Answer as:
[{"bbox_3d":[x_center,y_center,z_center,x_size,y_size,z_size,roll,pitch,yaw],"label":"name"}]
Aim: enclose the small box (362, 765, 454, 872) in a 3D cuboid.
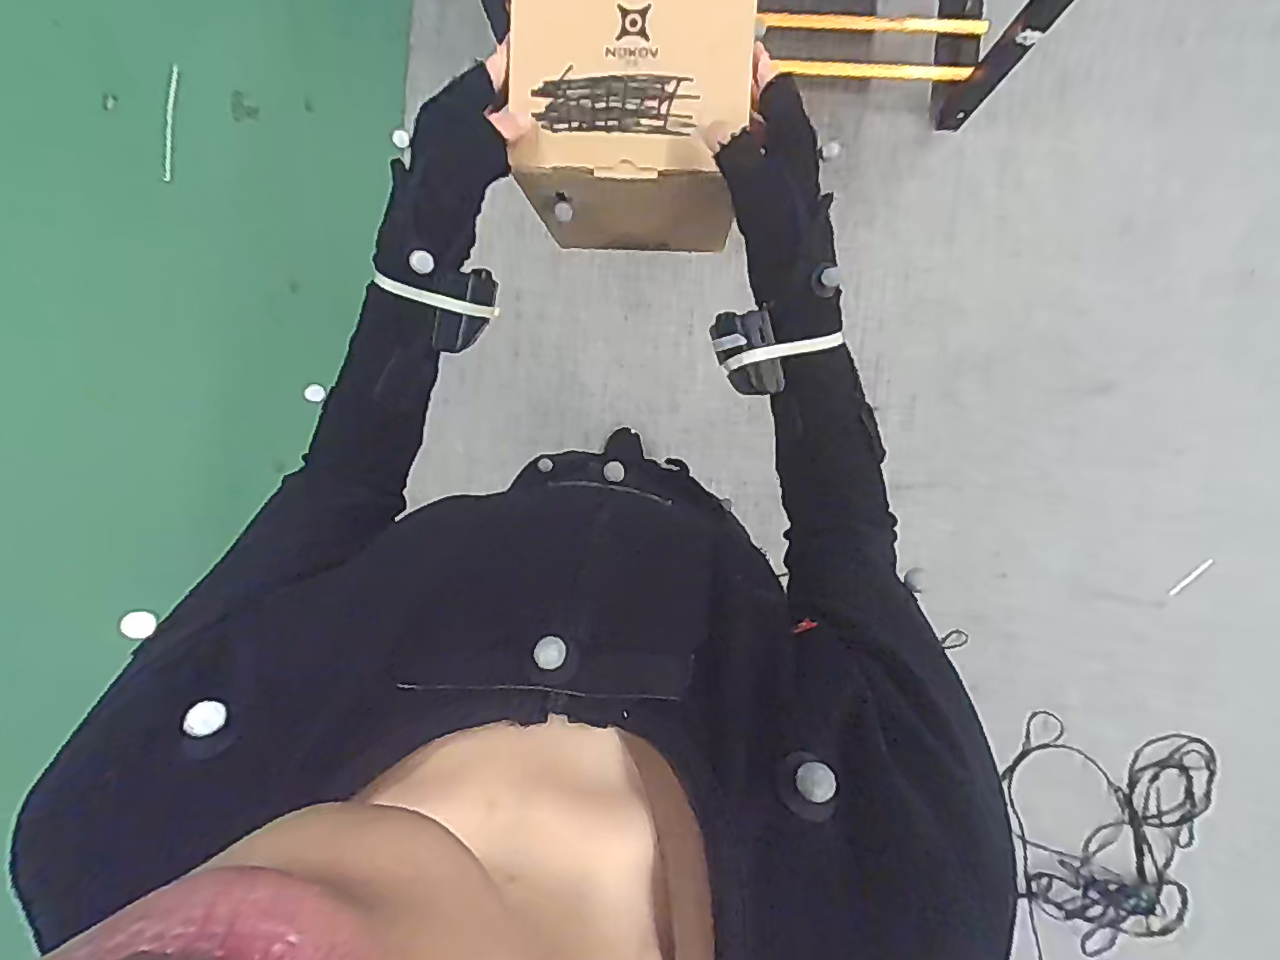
[{"bbox_3d":[-0.608,0.887,1.434,0.168,0.176,0.179,6,92,2],"label":"small box"}]
